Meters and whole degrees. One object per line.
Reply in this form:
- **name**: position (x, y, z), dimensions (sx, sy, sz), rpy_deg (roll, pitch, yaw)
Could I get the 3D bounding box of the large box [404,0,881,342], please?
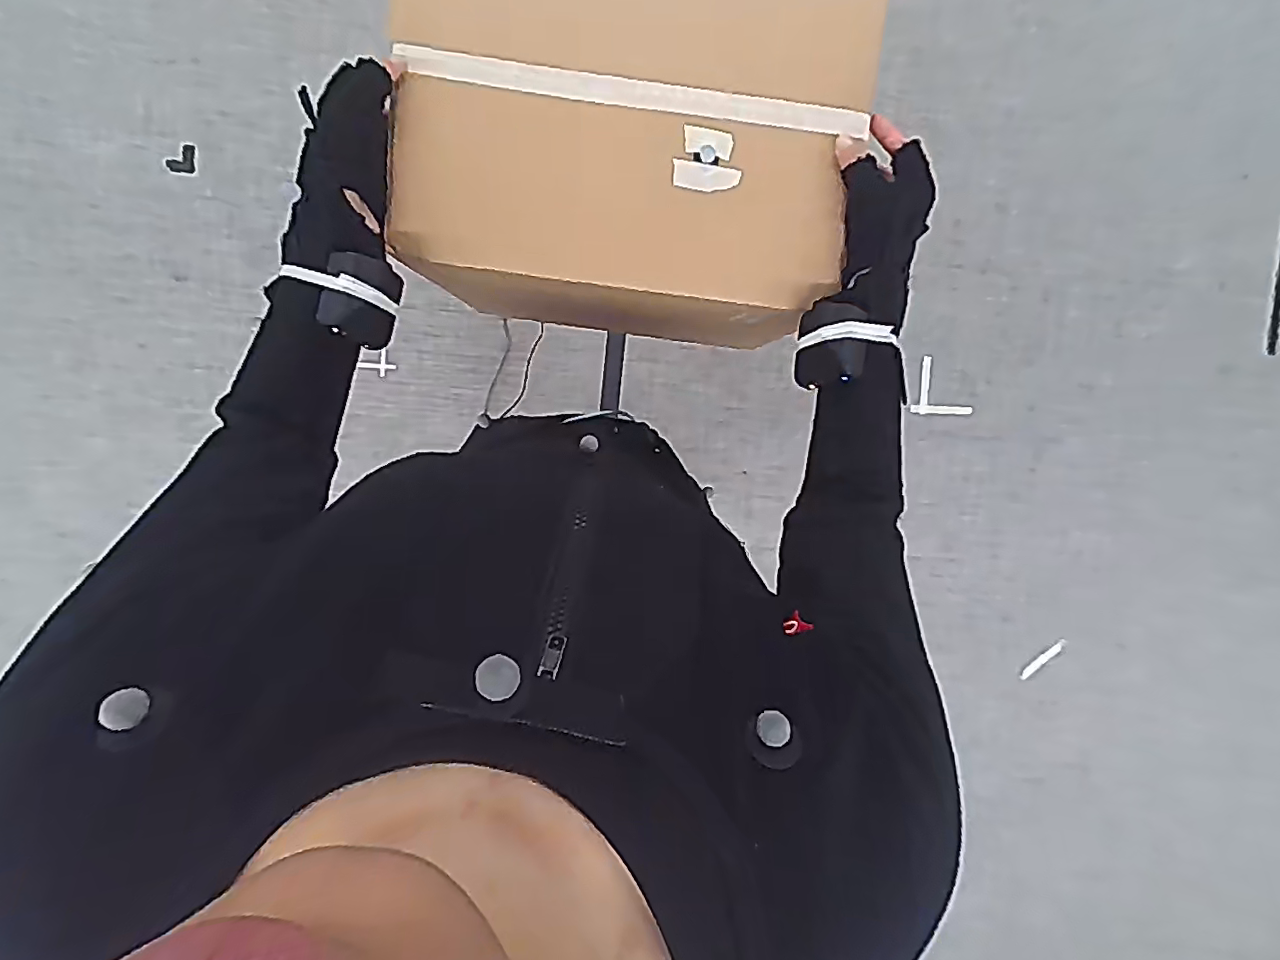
- **large box**: position (-0.008, -0.351, 0.621), dimensions (0.408, 0.320, 0.320), rpy_deg (7, 99, -3)
